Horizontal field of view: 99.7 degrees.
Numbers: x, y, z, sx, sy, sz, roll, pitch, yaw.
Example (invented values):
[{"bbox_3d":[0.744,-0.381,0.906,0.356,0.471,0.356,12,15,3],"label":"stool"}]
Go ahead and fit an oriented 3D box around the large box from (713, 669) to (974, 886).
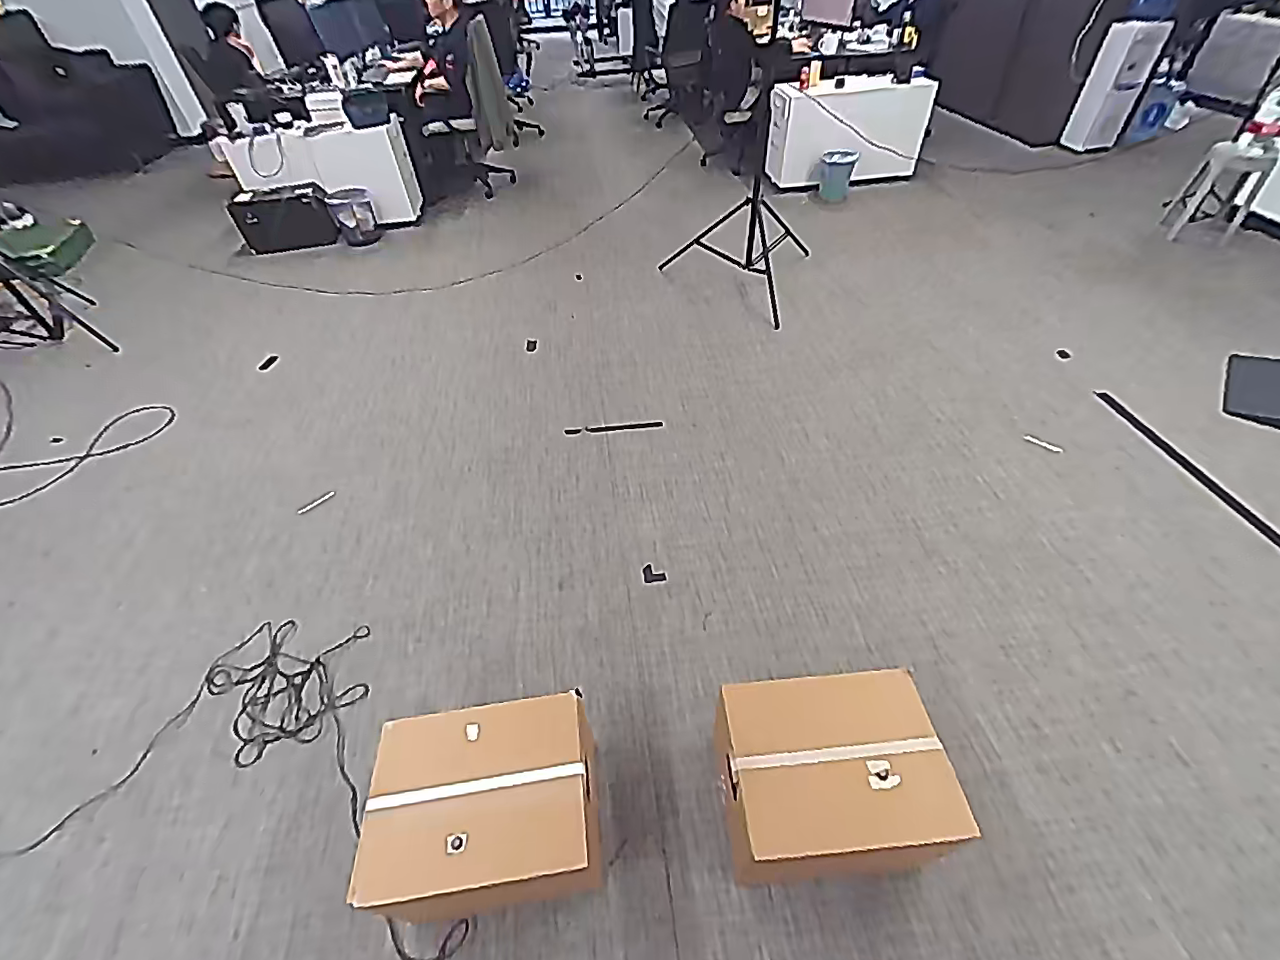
[{"bbox_3d":[0.389,0.637,1.158,0.408,0.320,0.320,-4,46,-2],"label":"large box"}]
